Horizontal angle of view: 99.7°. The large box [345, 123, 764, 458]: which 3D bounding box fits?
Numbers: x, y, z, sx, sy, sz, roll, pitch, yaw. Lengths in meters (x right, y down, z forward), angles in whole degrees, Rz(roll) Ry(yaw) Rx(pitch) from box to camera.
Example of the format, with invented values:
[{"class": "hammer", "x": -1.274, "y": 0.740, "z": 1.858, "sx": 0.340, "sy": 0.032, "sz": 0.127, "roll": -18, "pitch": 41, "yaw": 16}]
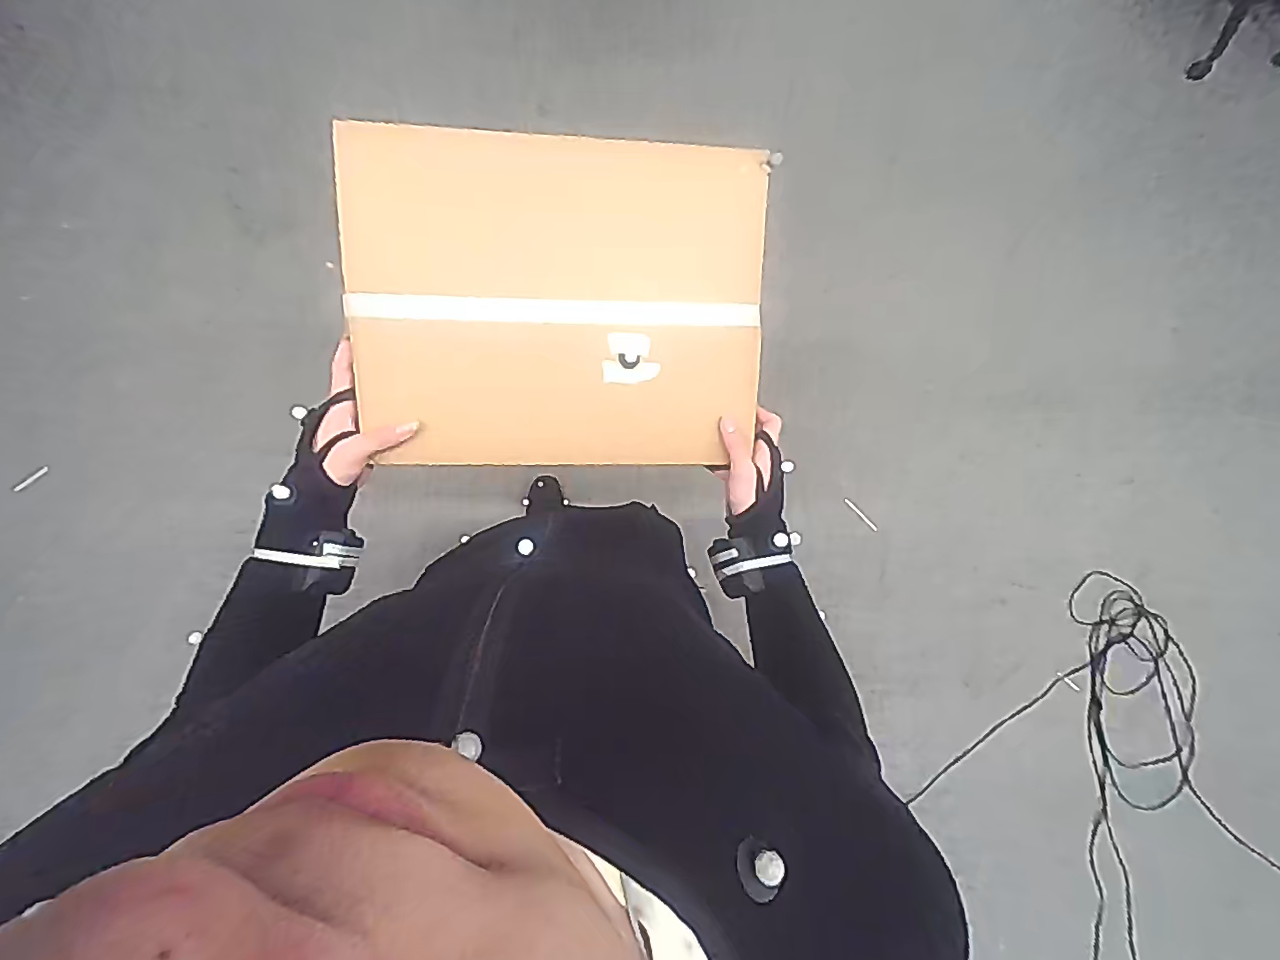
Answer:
[{"class": "large box", "x": -0.093, "y": -0.207, "z": 0.688, "sx": 0.408, "sy": 0.320, "sz": 0.320, "roll": -1, "pitch": 103, "yaw": -7}]
